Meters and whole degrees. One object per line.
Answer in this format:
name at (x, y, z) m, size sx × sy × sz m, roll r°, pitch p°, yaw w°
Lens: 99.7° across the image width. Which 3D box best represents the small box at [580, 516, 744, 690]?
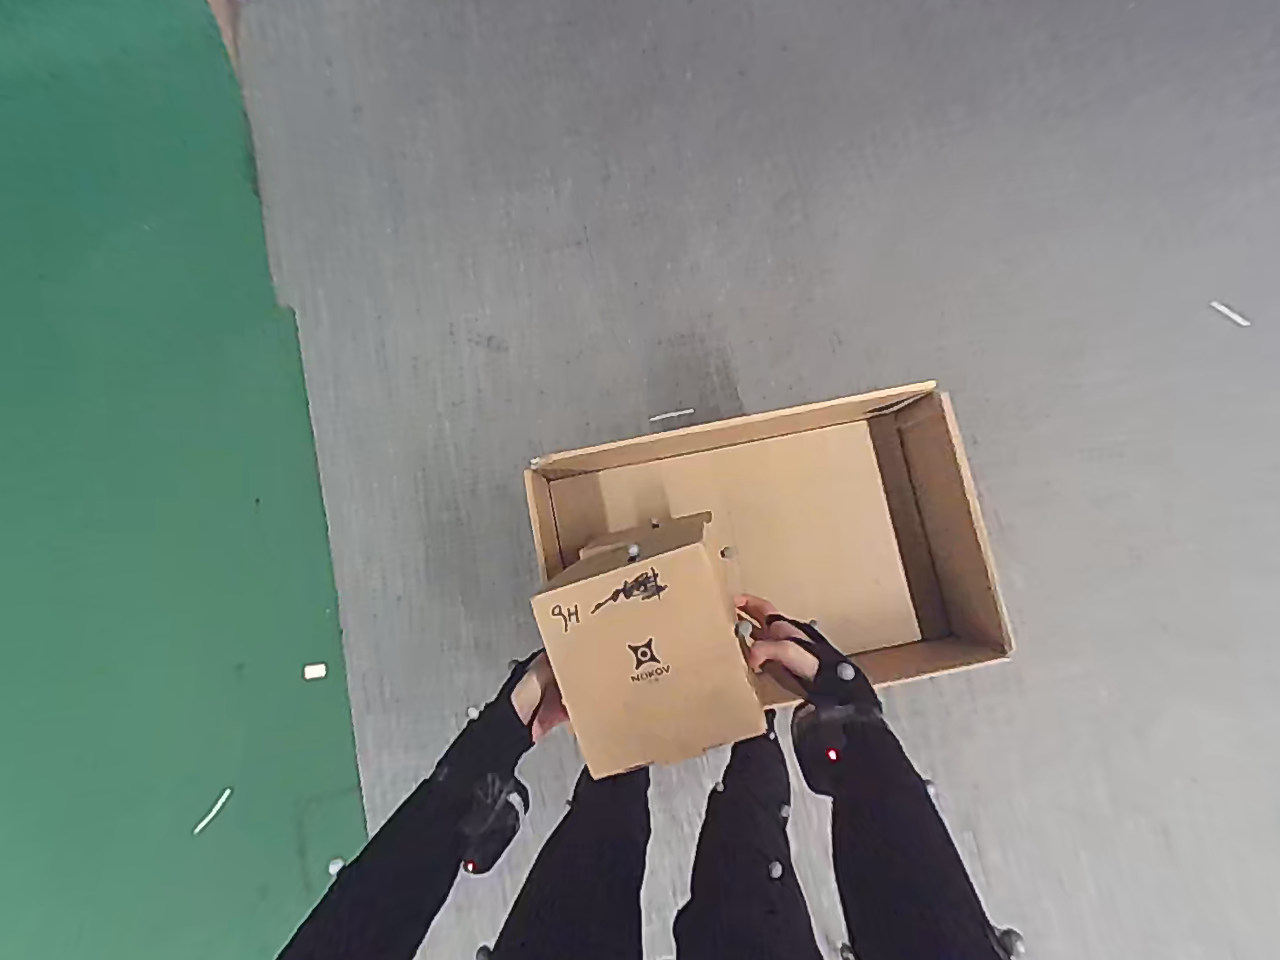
small box at (0.034, 0.148, 0.715) m, size 0.168 × 0.176 × 0.179 m, roll -13°, pitch 90°, yaw 8°
